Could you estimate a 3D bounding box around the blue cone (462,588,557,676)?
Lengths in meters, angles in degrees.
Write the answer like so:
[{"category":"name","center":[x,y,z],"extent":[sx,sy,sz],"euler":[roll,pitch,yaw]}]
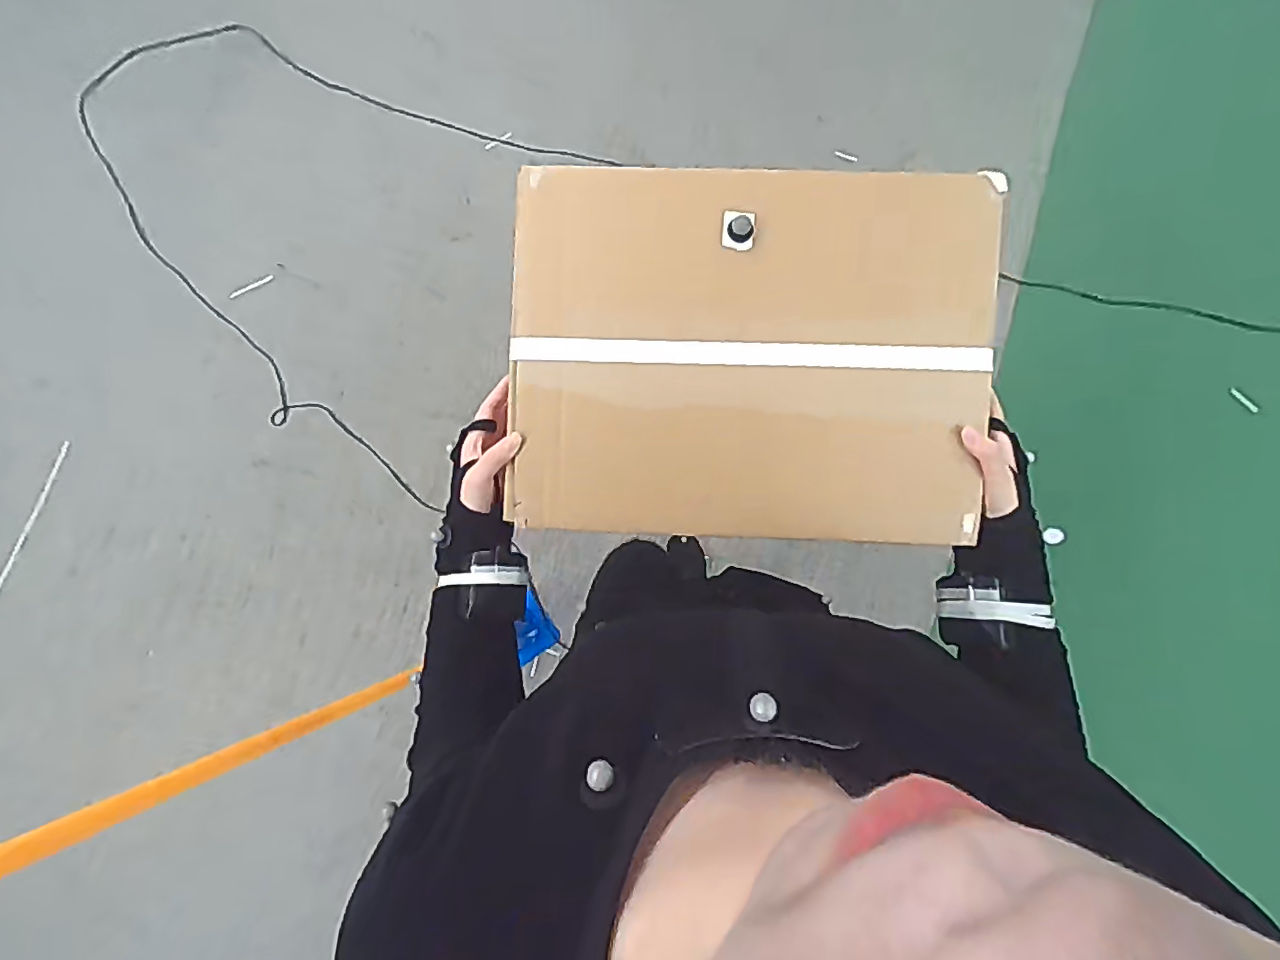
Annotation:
[{"category":"blue cone","center":[-0.341,0.389,1.299],"extent":[0.192,0.380,0.193],"euler":[-38,84,-4]}]
